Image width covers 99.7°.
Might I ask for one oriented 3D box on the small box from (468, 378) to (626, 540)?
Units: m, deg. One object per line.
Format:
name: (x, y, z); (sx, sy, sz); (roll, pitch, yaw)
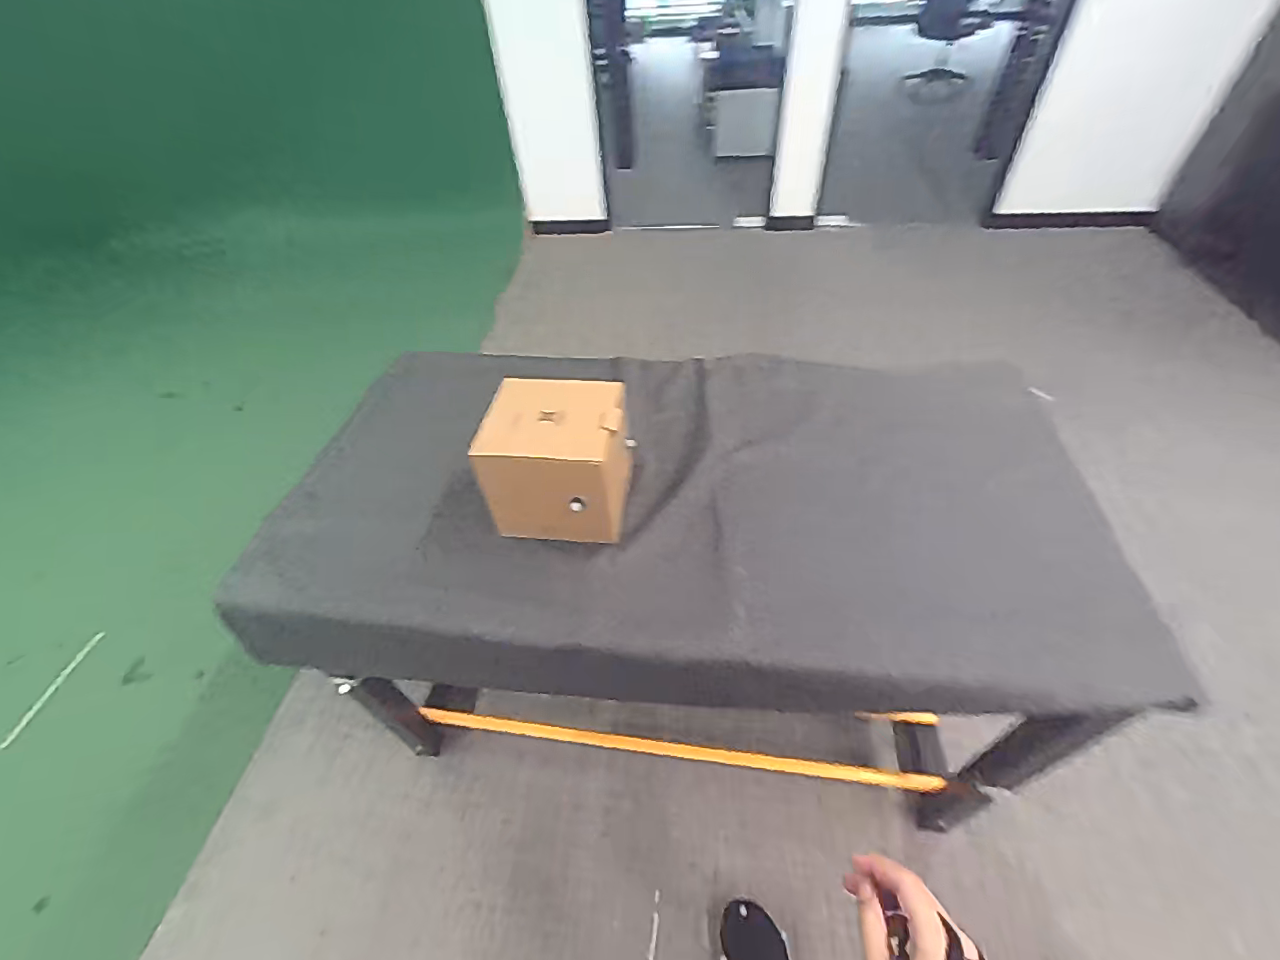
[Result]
small box: (-0.118, -0.028, 0.780); (0.179, 0.176, 0.168); (2, 45, 7)
